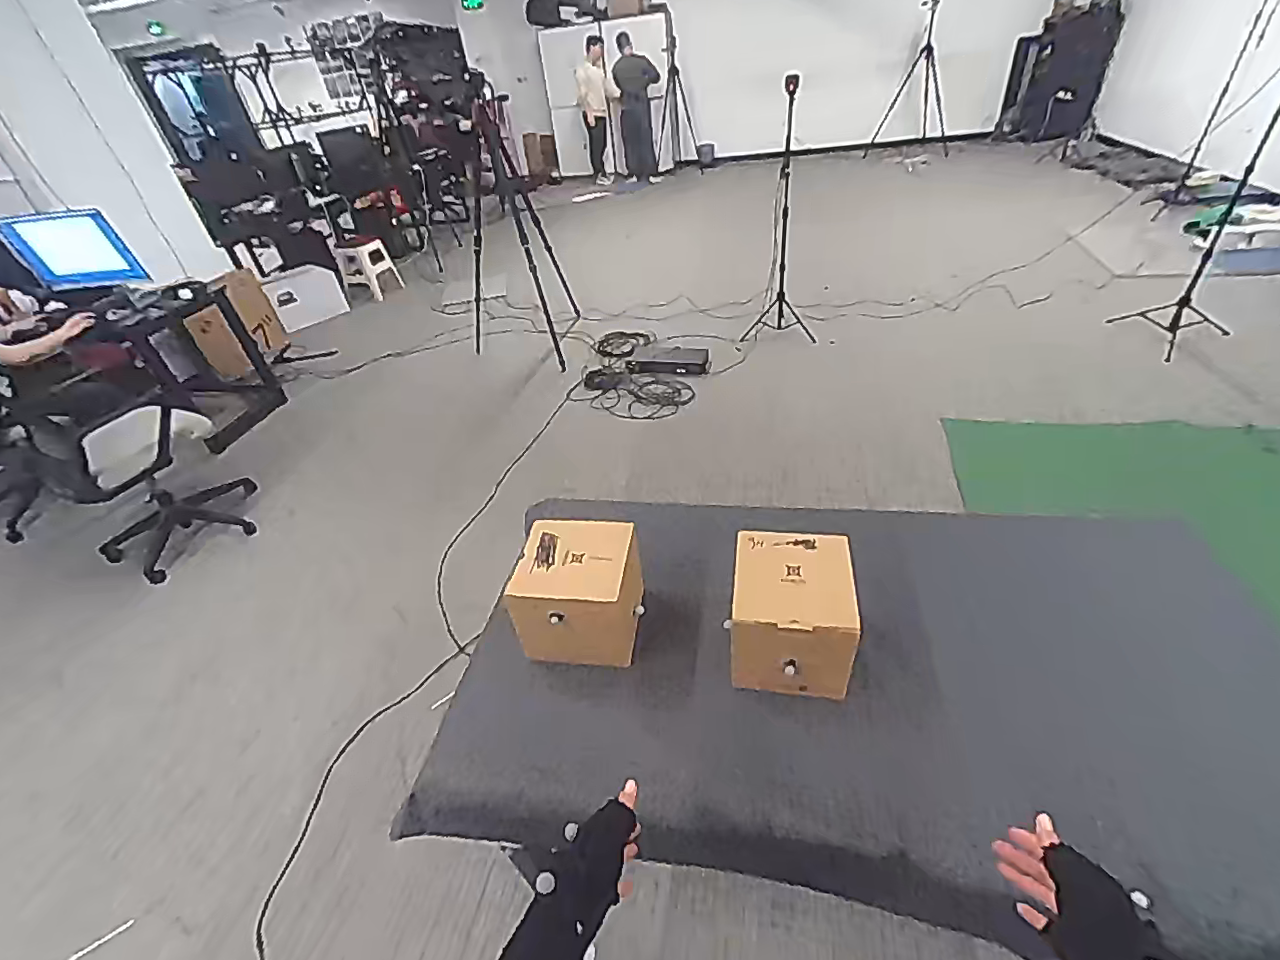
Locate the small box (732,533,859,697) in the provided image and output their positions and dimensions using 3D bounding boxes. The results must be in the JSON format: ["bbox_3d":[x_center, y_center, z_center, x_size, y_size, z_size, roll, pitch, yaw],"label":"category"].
[{"bbox_3d":[0.229,0.203,0.820,0.168,0.176,0.179,2,39,13],"label":"small box"}]

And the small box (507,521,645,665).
[{"bbox_3d":[-0.094,0.186,0.896,0.179,0.176,0.168,2,39,10],"label":"small box"}]
